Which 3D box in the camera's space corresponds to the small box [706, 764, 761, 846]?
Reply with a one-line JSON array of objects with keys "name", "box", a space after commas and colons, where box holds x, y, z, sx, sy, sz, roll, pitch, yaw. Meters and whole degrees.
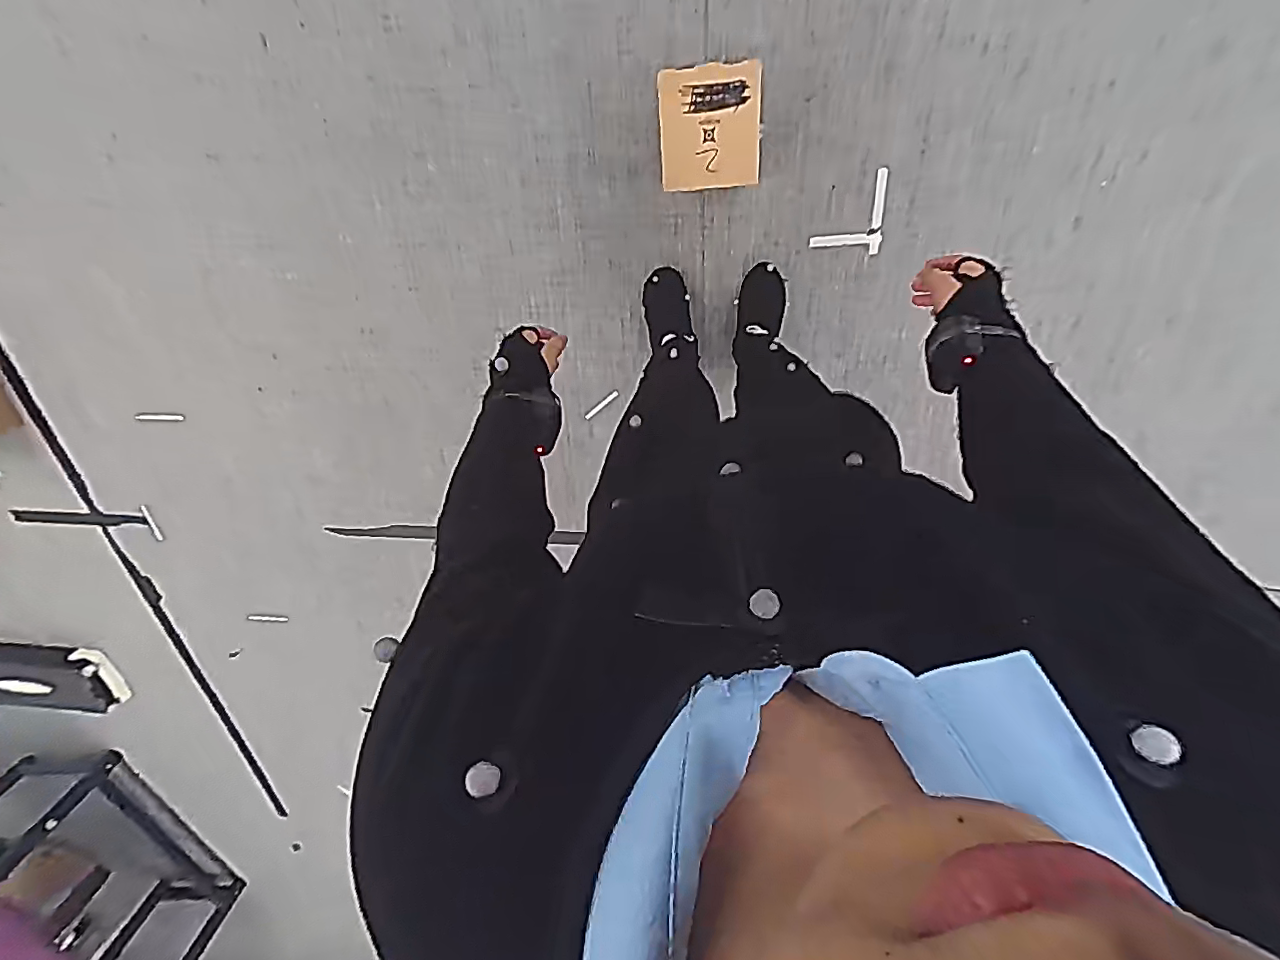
[{"name": "small box", "box": [0.312, 1.100, 1.836, 0.168, 0.176, 0.179, 3, 118, 4]}]

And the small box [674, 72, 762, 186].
[{"name": "small box", "box": [0.152, -0.700, 1.096, 0.168, 0.176, 0.179, -1, 119, 6]}]
